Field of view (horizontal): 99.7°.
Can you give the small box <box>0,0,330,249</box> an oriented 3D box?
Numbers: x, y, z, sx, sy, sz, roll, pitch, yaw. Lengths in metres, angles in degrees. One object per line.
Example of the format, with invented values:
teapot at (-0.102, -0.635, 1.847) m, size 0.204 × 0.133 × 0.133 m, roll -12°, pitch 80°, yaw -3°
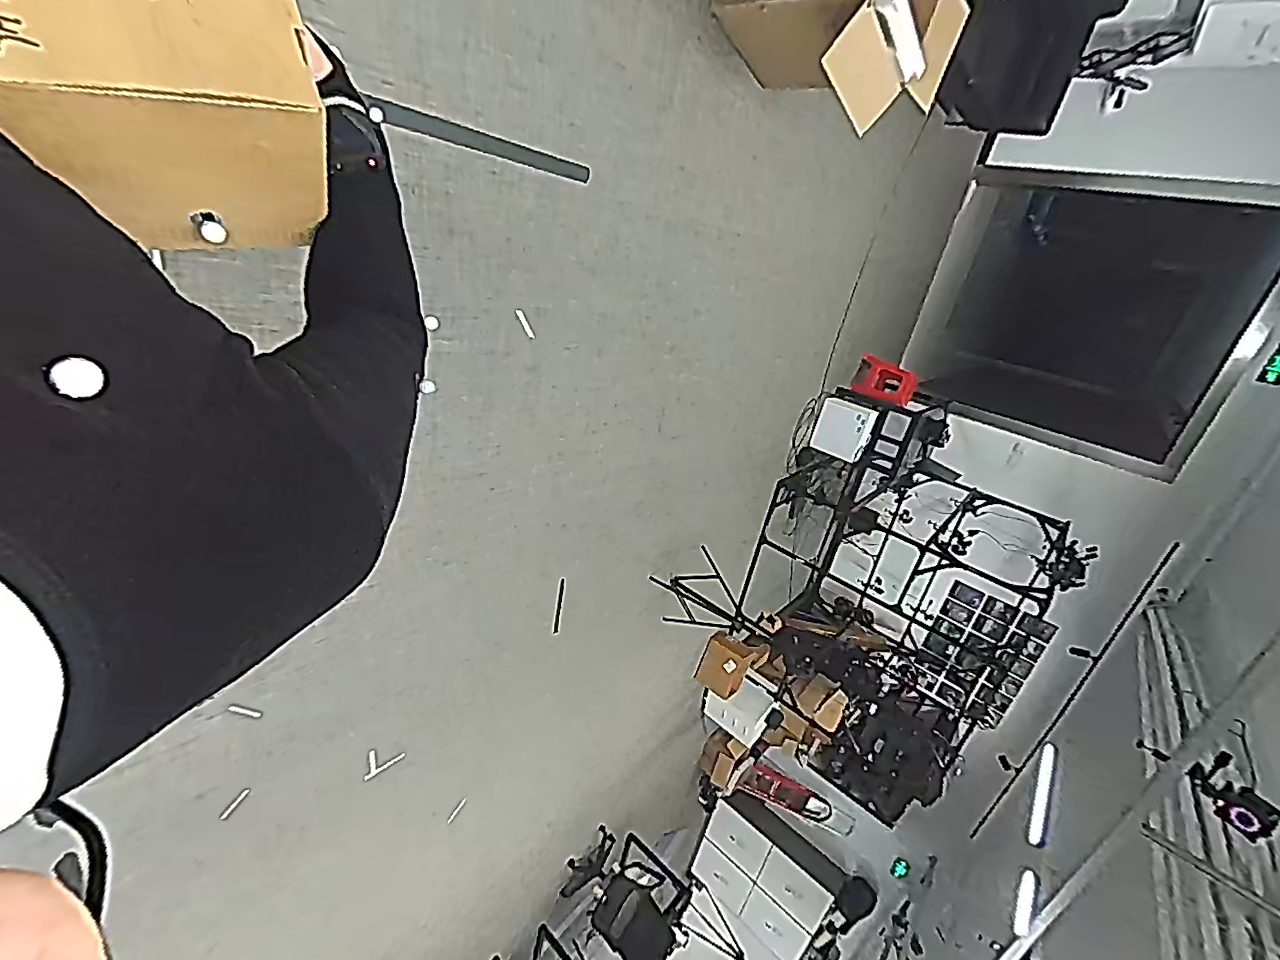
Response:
small box at (-0.355, -0.296, 0.410) m, size 0.179 × 0.176 × 0.168 m, roll -18°, pitch 88°, yaw -31°
